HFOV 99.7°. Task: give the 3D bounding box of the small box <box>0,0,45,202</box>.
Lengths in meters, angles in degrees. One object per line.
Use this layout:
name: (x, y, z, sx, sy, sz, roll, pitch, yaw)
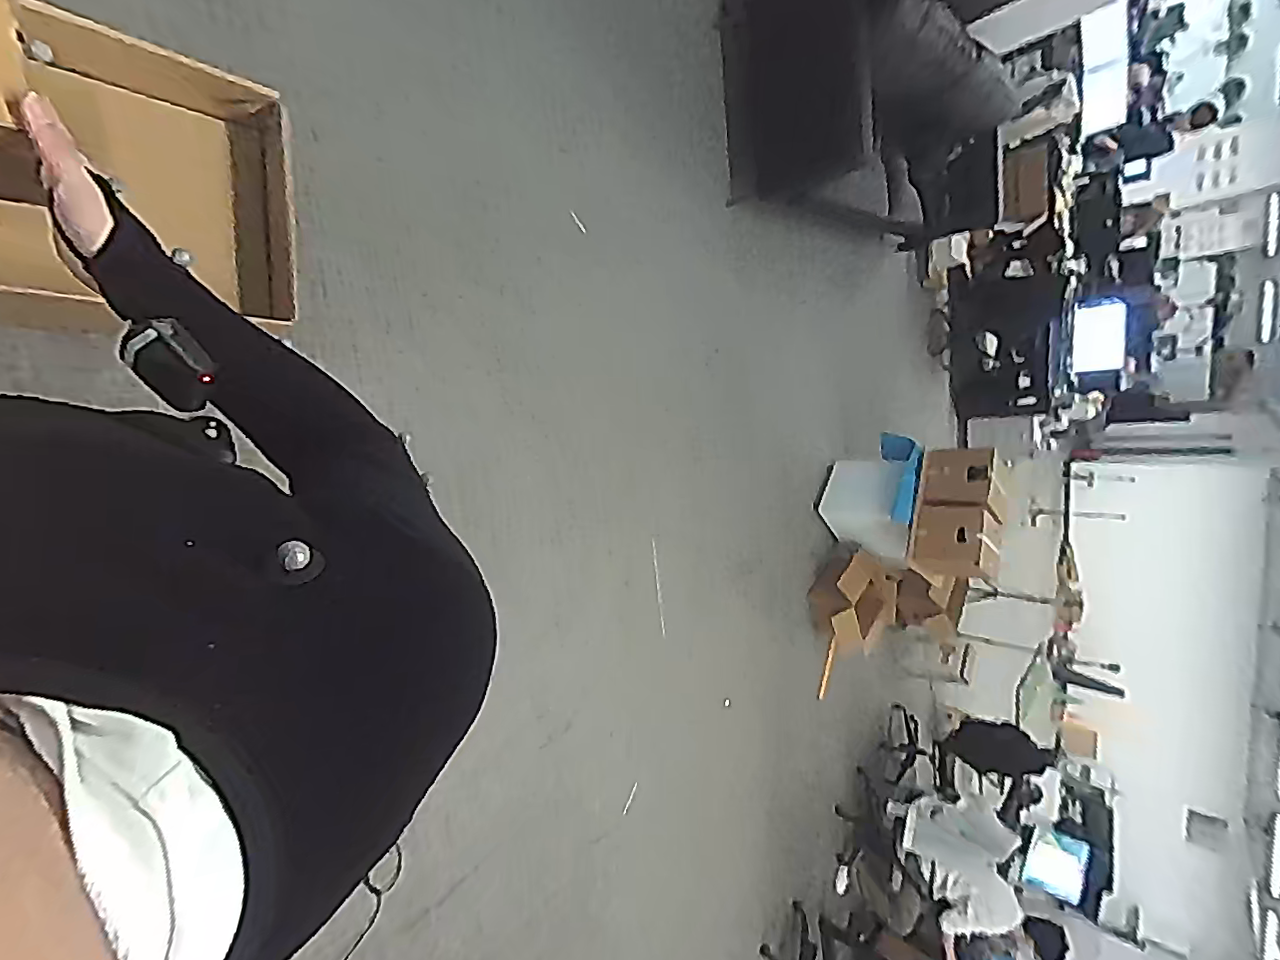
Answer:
small box: (-0.573, -0.333, 0.393, 0.168, 0.176, 0.179, -13, 103, -45)
